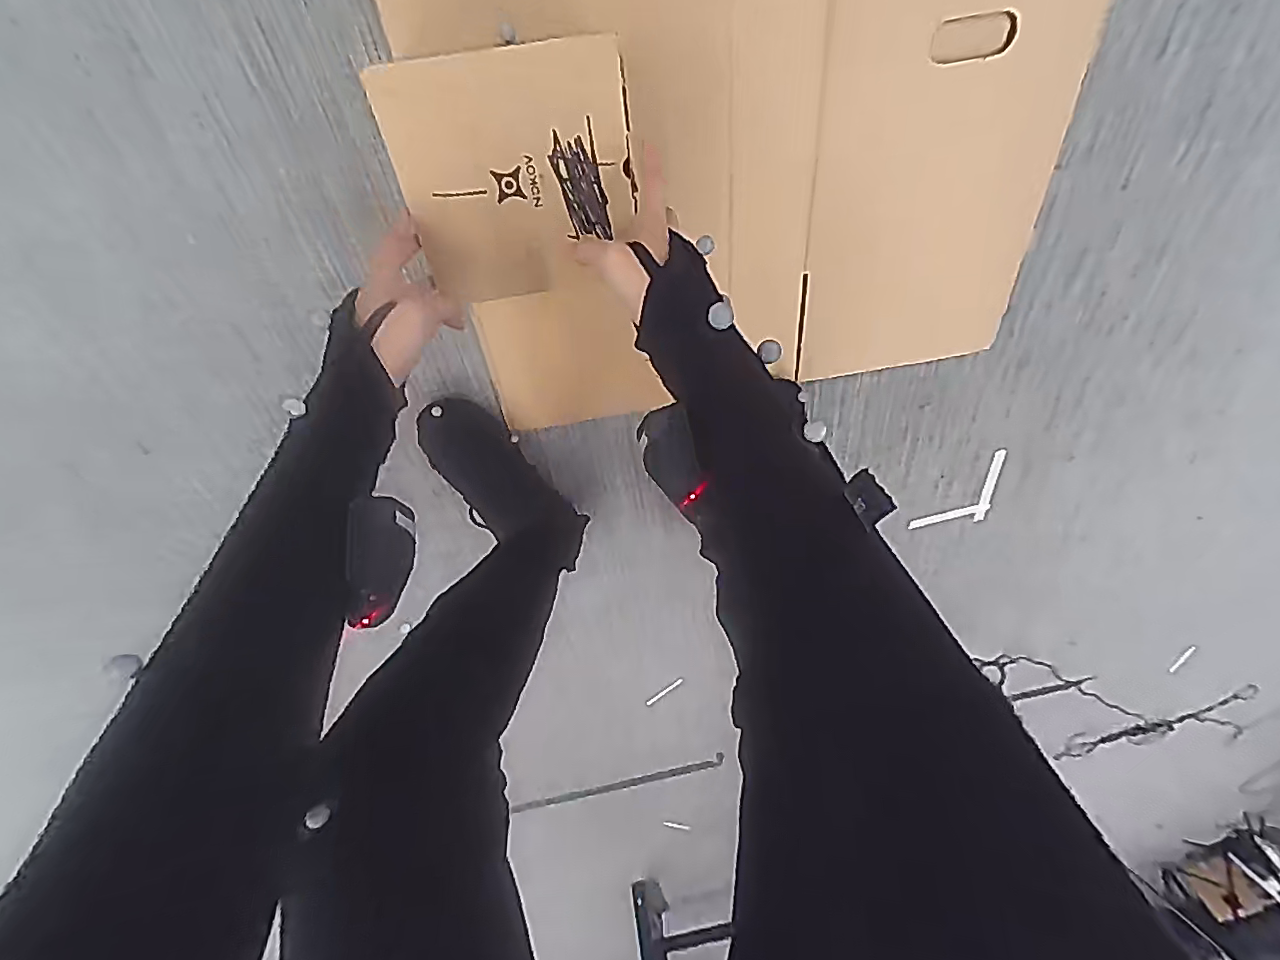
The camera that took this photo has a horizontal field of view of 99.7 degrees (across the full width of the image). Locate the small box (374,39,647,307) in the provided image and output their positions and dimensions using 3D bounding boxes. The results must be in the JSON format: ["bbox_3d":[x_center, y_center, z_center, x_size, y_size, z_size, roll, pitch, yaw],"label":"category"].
[{"bbox_3d":[-0.099,-0.273,0.475,0.179,0.176,0.168,-10,130,-2],"label":"small box"}]
